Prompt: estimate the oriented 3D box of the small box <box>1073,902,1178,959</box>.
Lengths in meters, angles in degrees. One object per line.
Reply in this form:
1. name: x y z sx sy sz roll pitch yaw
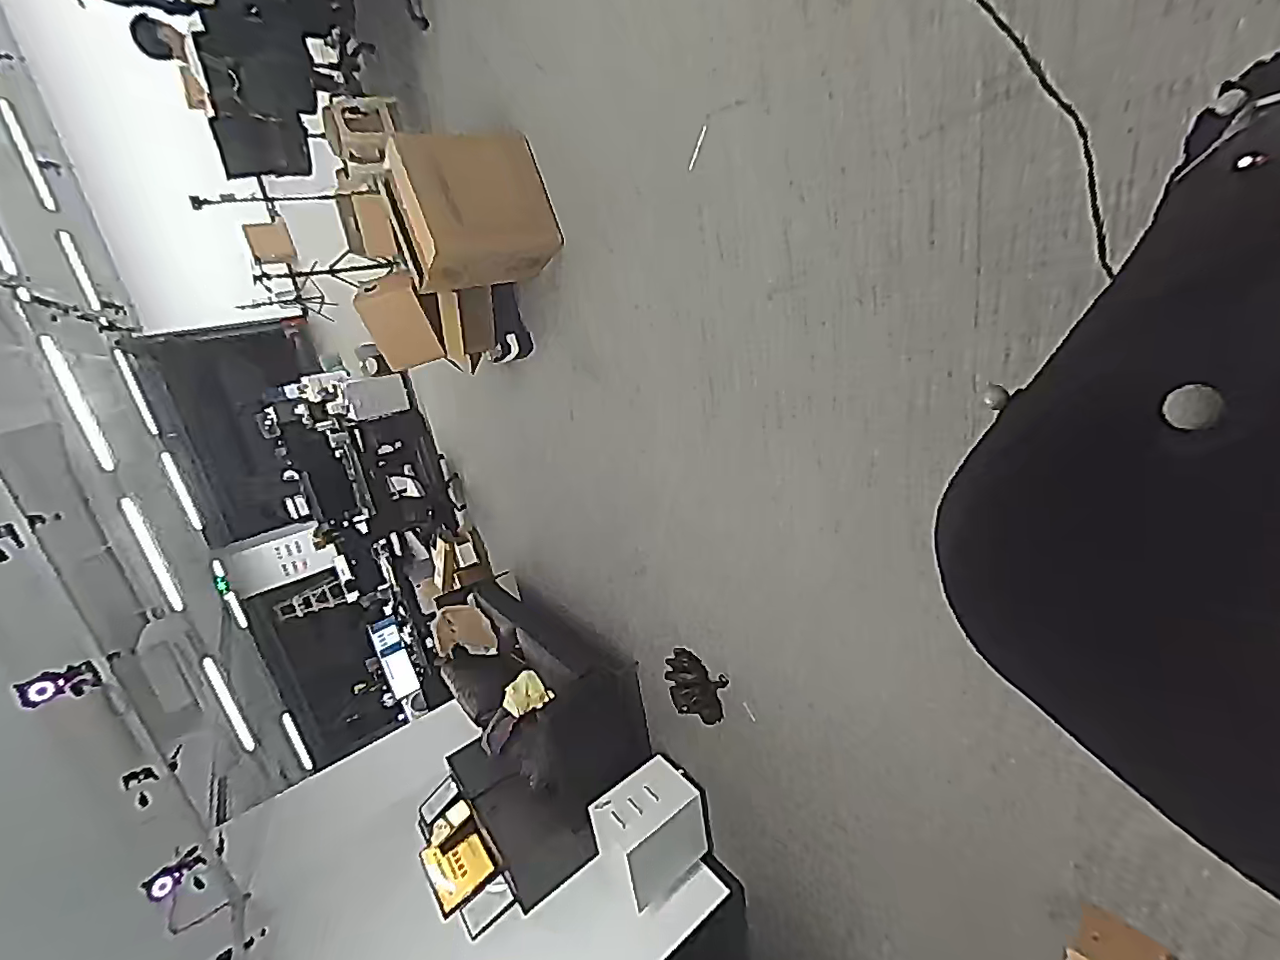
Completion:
1. small box: 1.311 1.301 1.466 0.179 0.176 0.168 13 120 52
